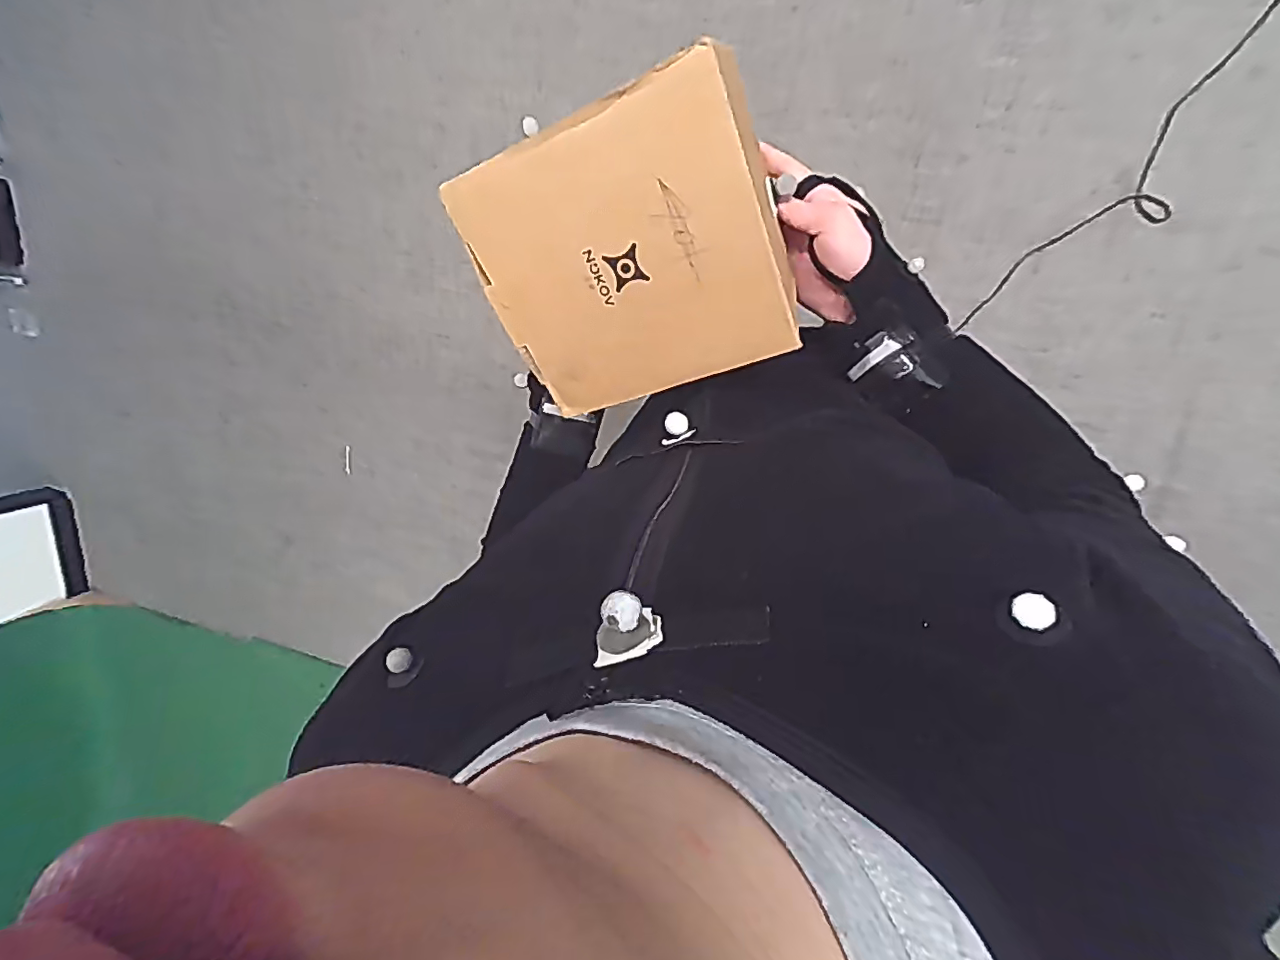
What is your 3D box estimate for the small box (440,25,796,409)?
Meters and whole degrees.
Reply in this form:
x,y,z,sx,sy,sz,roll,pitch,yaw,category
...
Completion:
x,y,z,sx,sy,sz,roll,pitch,yaw,category
0.004,-0.179,0.386,0.179,0.176,0.168,-14,122,23,small box
